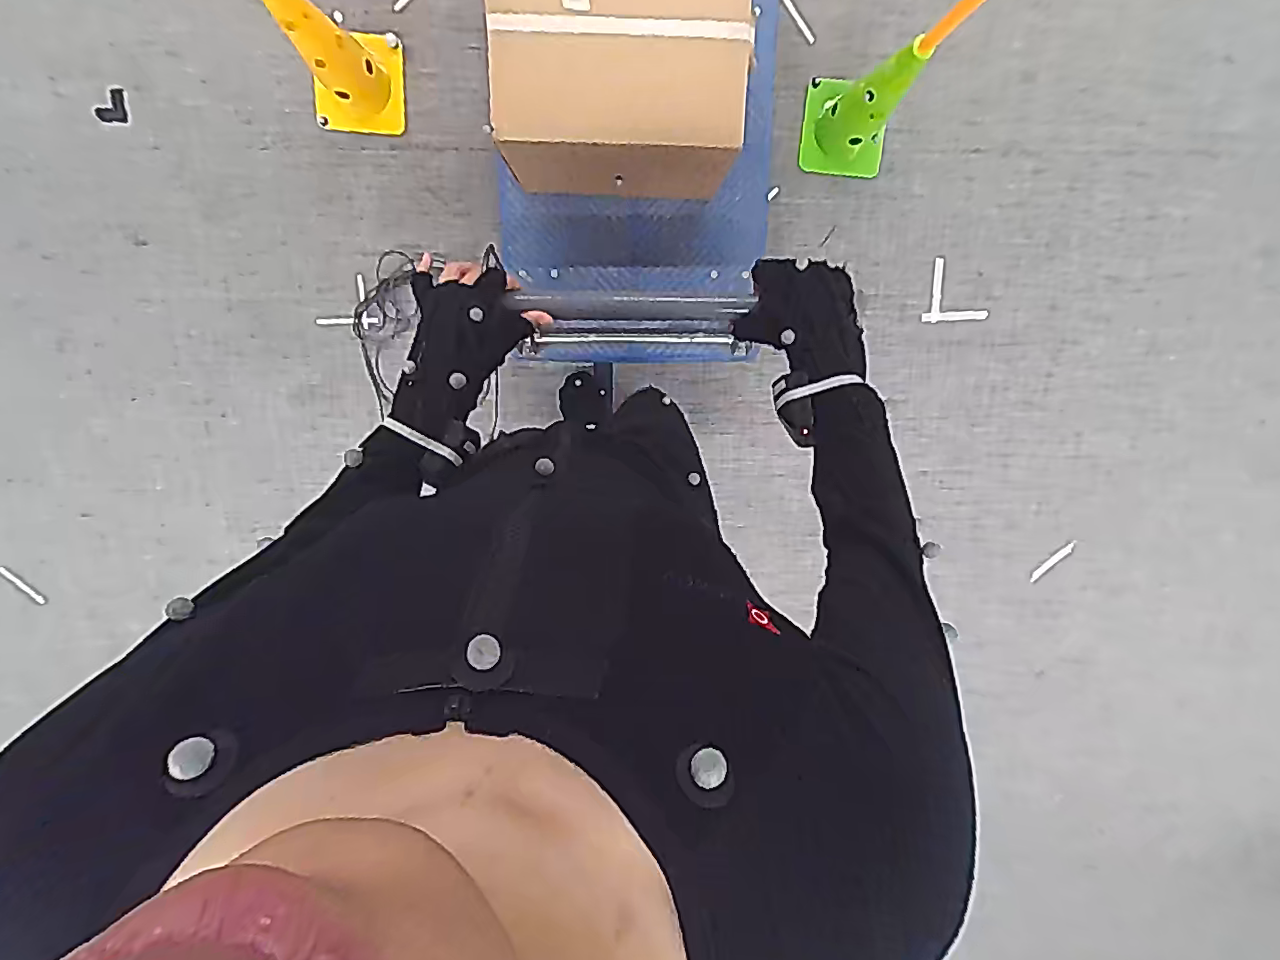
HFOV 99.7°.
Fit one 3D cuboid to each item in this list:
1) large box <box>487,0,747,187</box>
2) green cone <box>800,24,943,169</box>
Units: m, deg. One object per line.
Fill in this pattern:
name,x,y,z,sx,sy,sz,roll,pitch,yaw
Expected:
large box,-0.035,-0.734,0.972,0.408,0.320,0.320,1,104,-1
green cone,0.497,-0.816,1.120,0.202,0.368,0.200,3,104,-4
